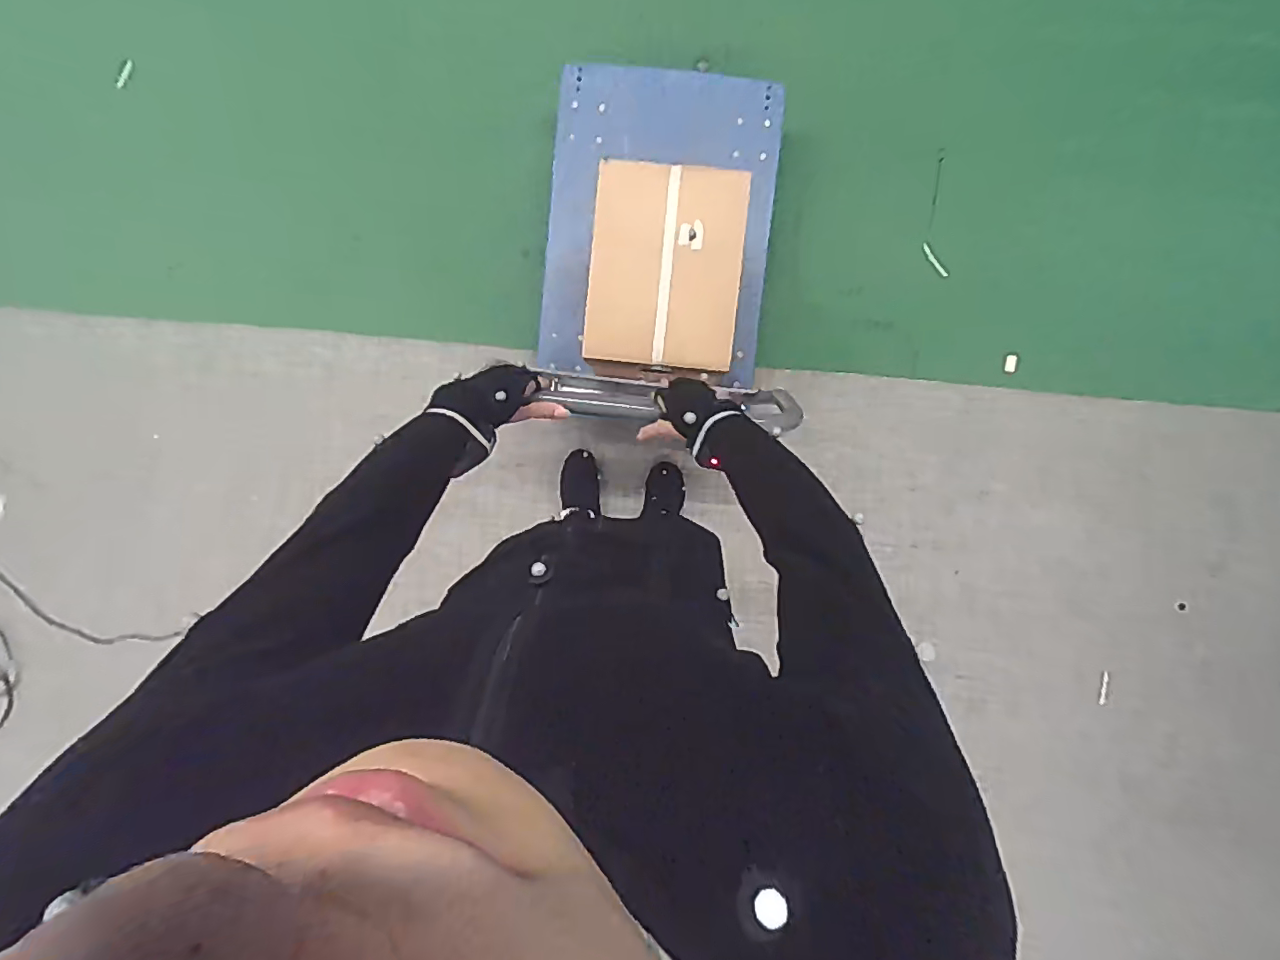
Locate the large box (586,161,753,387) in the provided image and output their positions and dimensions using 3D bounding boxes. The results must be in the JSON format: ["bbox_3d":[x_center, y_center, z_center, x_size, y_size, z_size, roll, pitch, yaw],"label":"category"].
[{"bbox_3d":[0.062,-0.440,1.247,0.320,0.320,0.408,6,94,0],"label":"large box"}]
